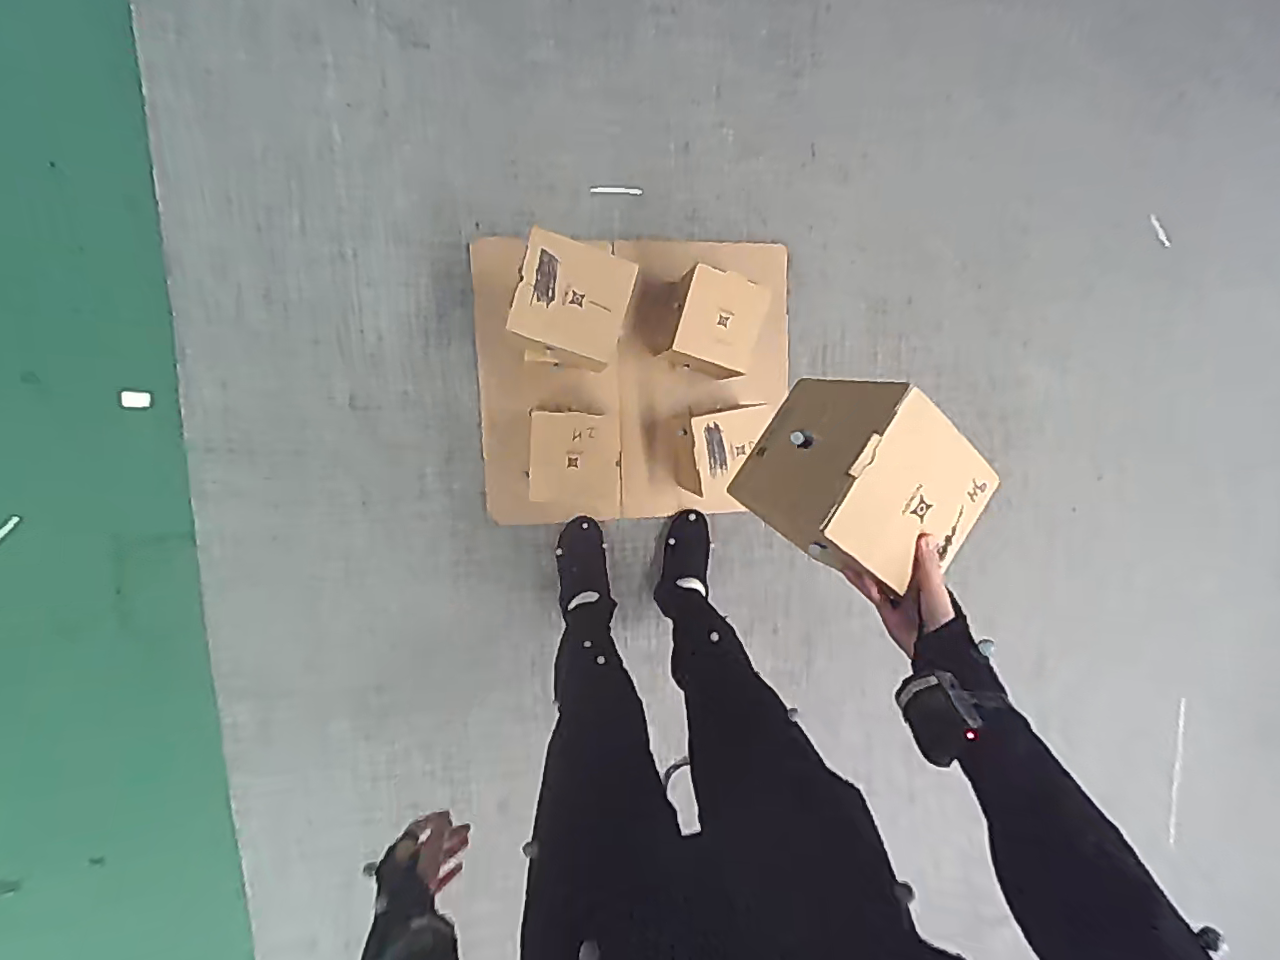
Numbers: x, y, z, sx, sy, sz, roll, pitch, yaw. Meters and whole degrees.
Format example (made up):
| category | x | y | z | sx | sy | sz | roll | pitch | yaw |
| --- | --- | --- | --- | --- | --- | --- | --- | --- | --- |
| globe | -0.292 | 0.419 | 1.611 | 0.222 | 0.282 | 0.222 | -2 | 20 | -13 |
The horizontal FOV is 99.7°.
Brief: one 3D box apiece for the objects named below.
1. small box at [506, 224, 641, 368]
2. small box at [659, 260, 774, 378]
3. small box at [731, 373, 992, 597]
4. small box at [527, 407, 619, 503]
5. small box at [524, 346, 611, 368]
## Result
| category | x | y | z | sx | sy | sz | roll | pitch | yaw |
| --- | --- | --- | --- | --- | --- | --- | --- | --- | --- |
| small box | -0.117 | -0.298 | 0.920 | 0.179 | 0.176 | 0.168 | 17 | 93 | -12 |
| small box | 0.149 | -0.324 | 1.128 | 0.168 | 0.176 | 0.179 | 17 | 93 | -11 |
| small box | 0.235 | -0.001 | 0.607 | 0.179 | 0.176 | 0.168 | 35 | 86 | -24 |
| small box | -0.141 | -0.056 | 1.110 | 0.168 | 0.176 | 0.179 | 3 | 96 | -11 |
| small box | -0.145 | -0.319 | 1.081 | 0.168 | 0.176 | 0.179 | -1 | 96 | -10 |
